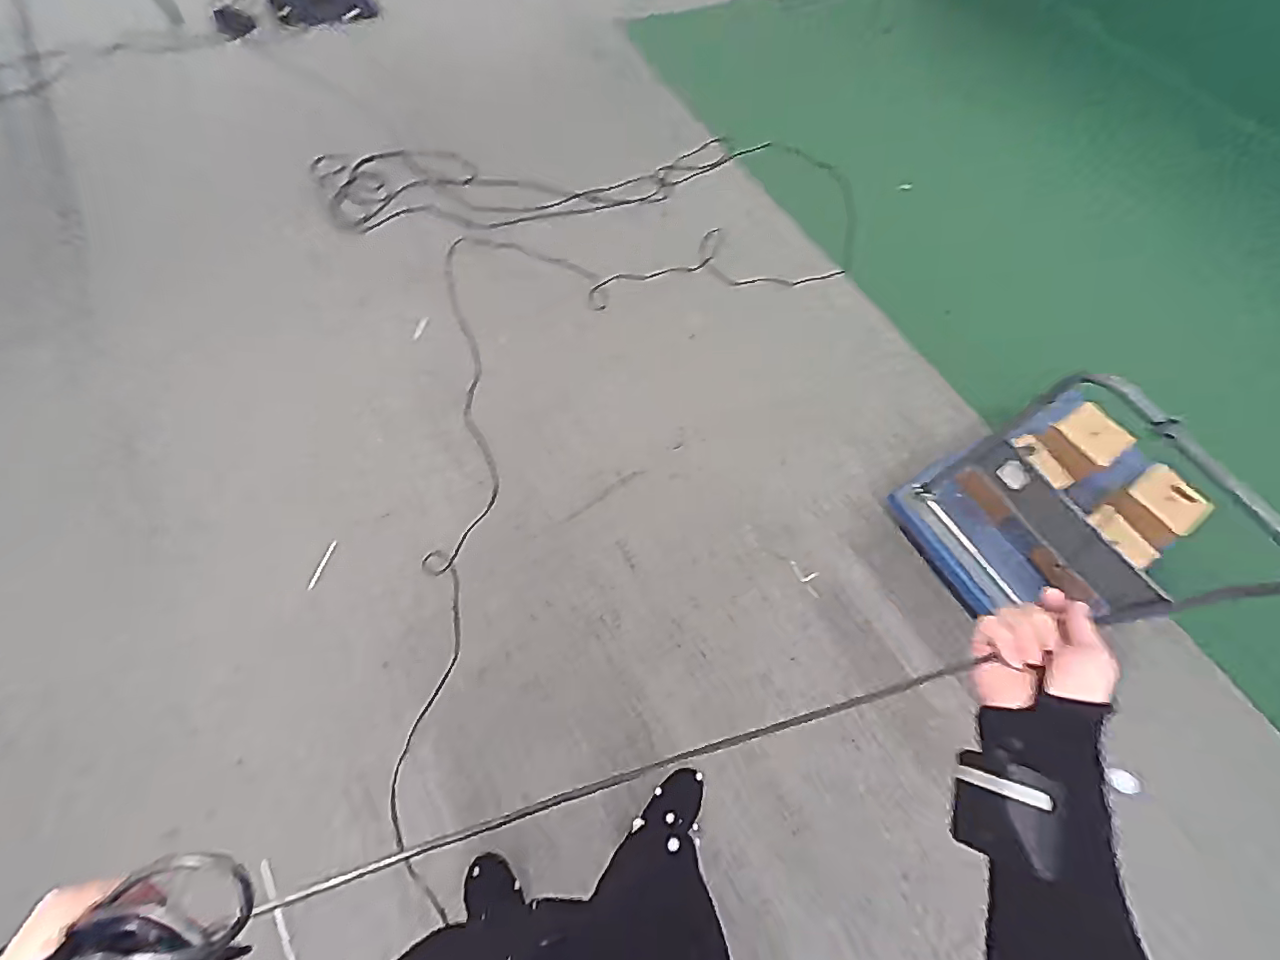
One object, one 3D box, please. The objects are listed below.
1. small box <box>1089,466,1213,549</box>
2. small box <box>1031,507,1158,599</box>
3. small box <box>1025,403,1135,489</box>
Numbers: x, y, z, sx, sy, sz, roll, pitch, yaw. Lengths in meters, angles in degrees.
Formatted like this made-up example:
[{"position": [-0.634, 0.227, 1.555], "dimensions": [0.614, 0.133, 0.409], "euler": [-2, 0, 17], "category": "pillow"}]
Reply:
[{"position": [1.478, 0.093, 1.578], "dimensions": [0.179, 0.176, 0.168], "euler": [-30, 70, -18], "category": "small box"}, {"position": [1.246, 0.206, 1.498], "dimensions": [0.179, 0.176, 0.168], "euler": [-26, 69, -16], "category": "small box"}, {"position": [1.335, -0.099, 1.658], "dimensions": [0.179, 0.176, 0.168], "euler": [-30, 71, -19], "category": "small box"}]
